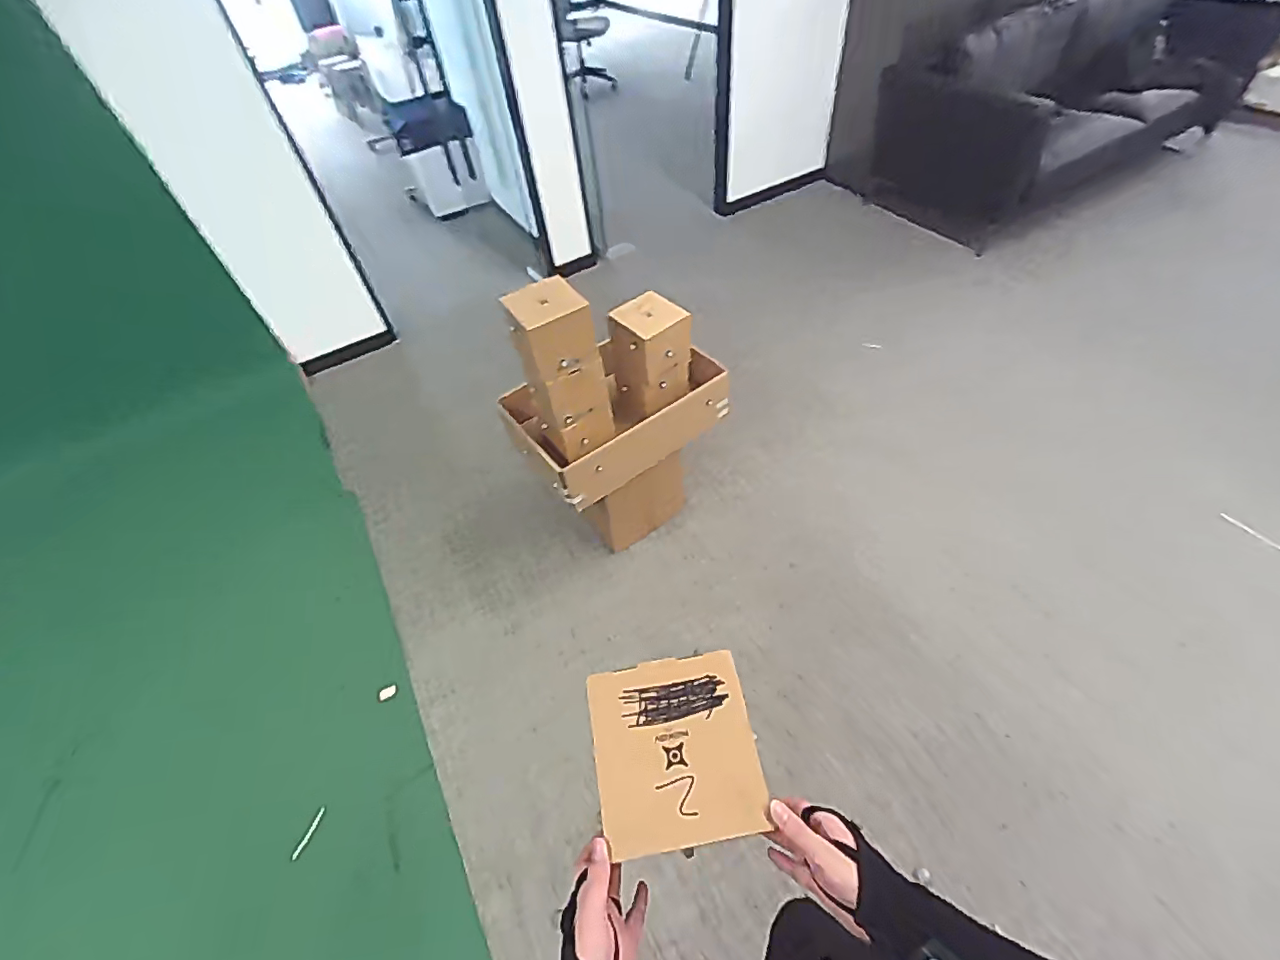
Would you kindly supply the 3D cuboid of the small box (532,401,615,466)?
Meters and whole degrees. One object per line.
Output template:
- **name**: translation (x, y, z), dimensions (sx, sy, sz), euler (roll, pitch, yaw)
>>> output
- **small box**: translation (-0.192, -0.164, 1.605), dimensions (0.168, 0.176, 0.179), euler (-33, 54, -19)

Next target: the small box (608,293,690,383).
- **small box**: translation (0.030, -0.405, 1.565), dimensions (0.168, 0.176, 0.179), euler (-34, 55, -22)

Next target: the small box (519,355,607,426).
- **small box**: translation (-0.206, -0.270, 1.481), dimensions (0.168, 0.176, 0.179), euler (-29, 52, -17)

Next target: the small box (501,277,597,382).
- **small box**: translation (-0.225, -0.376, 1.358), dimensions (0.168, 0.176, 0.179), euler (-28, 53, -16)
